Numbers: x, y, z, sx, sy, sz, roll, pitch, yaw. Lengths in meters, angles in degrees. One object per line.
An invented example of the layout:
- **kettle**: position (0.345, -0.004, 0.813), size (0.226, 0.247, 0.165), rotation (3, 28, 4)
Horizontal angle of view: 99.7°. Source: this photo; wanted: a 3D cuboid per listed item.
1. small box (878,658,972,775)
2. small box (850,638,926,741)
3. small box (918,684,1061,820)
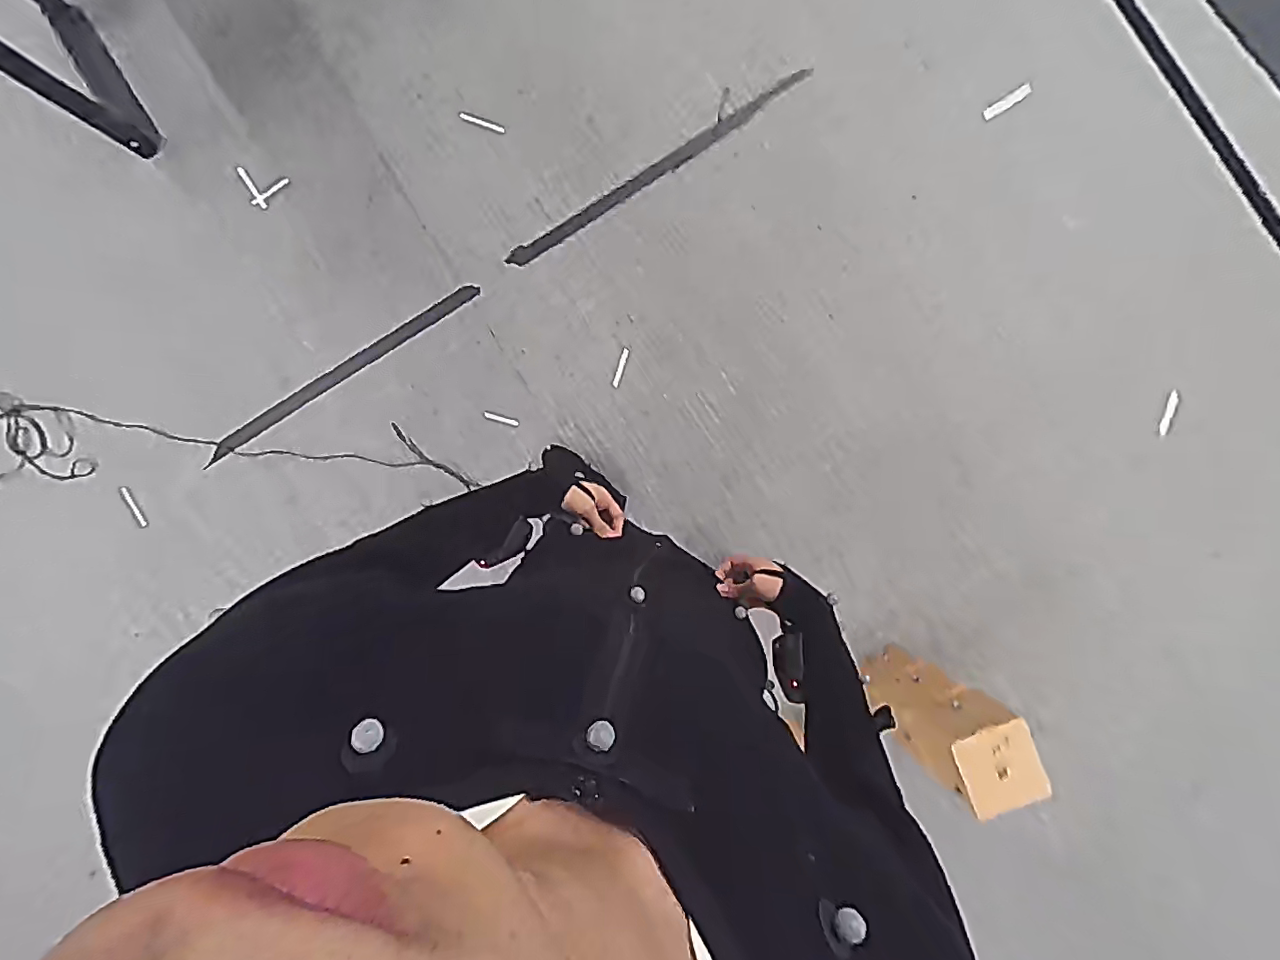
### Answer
- **small box**: position (0.720, 0.568, 1.320), size (0.168, 0.176, 0.179), rotation (-27, 90, 1)
- **small box**: position (0.713, 0.566, 1.482), size (0.168, 0.176, 0.179), rotation (-30, 91, 2)
- **small box**: position (0.735, 0.571, 1.155), size (0.168, 0.176, 0.179), rotation (-21, 90, 1)
